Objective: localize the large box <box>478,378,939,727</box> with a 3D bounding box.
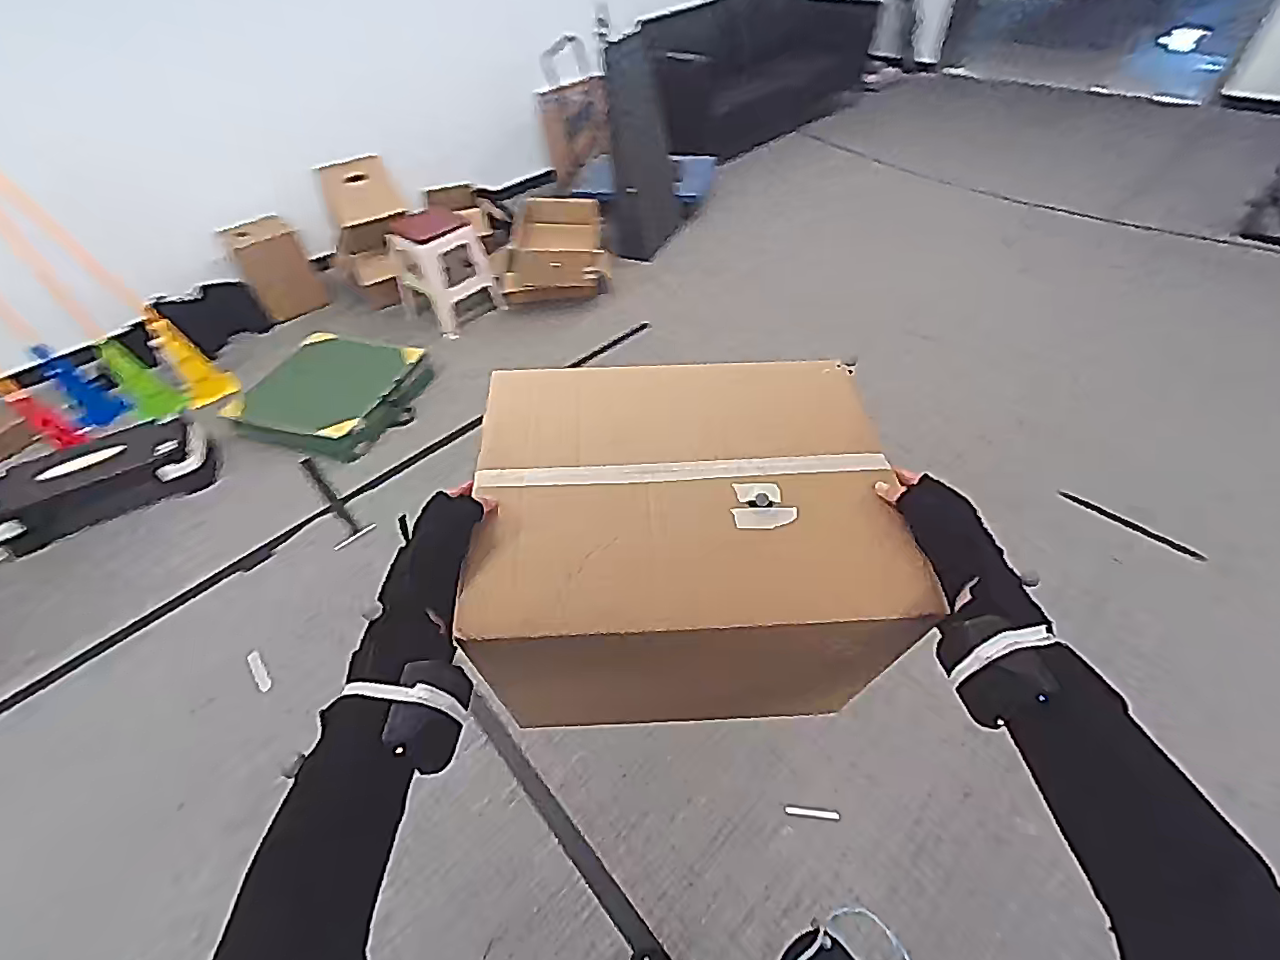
[{"bbox_3d":[0.052,0.095,0.662,0.408,0.320,0.320,-1,54,-2],"label":"large box"}]
